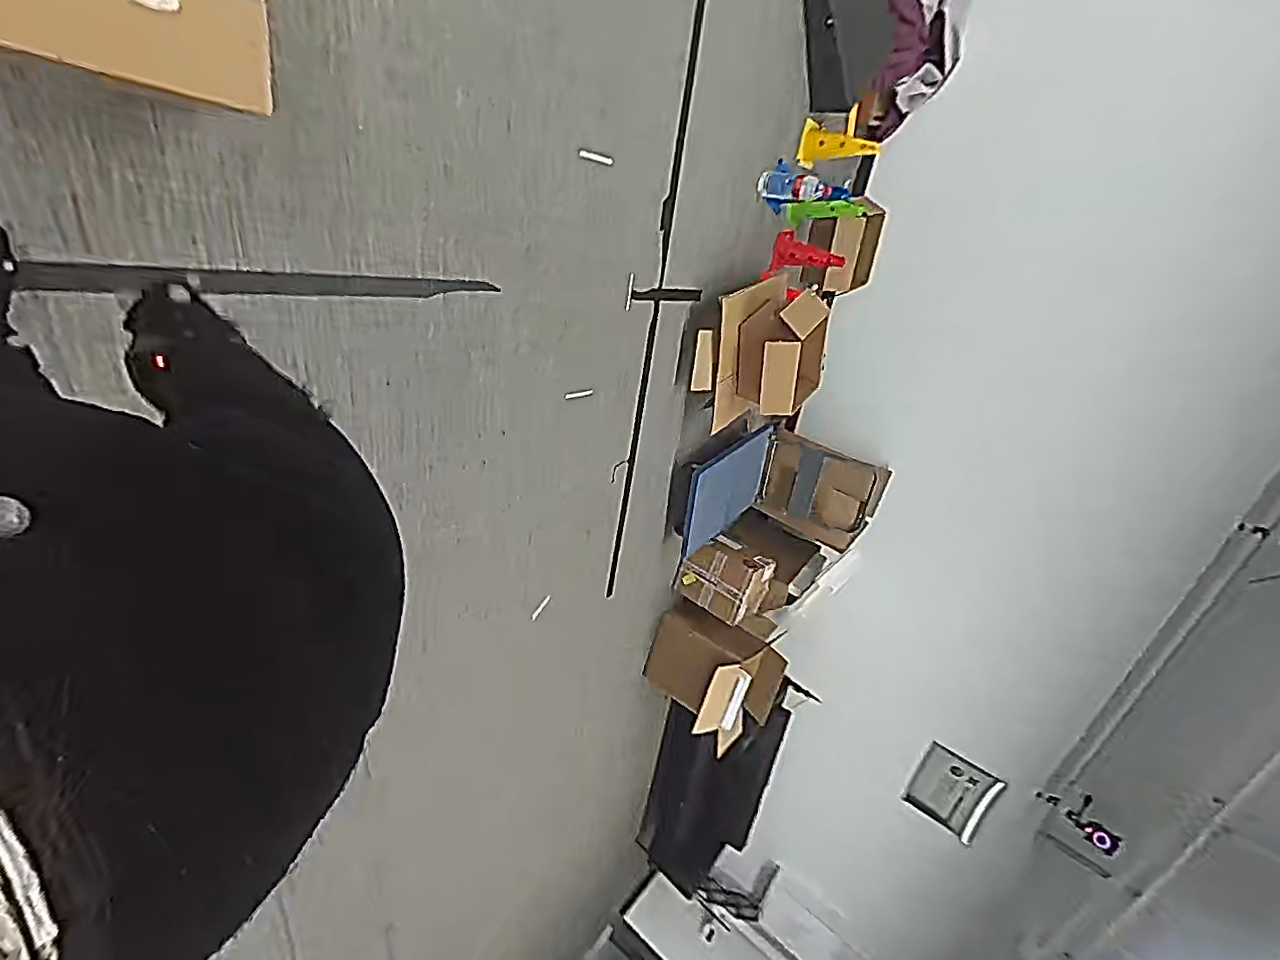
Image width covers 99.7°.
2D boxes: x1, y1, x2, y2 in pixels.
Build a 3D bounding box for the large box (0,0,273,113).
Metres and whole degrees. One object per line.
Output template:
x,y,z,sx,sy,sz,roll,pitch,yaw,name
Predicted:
-0.786,-0.718,0.709,0.408,0.320,0.320,-20,129,-51,large box
